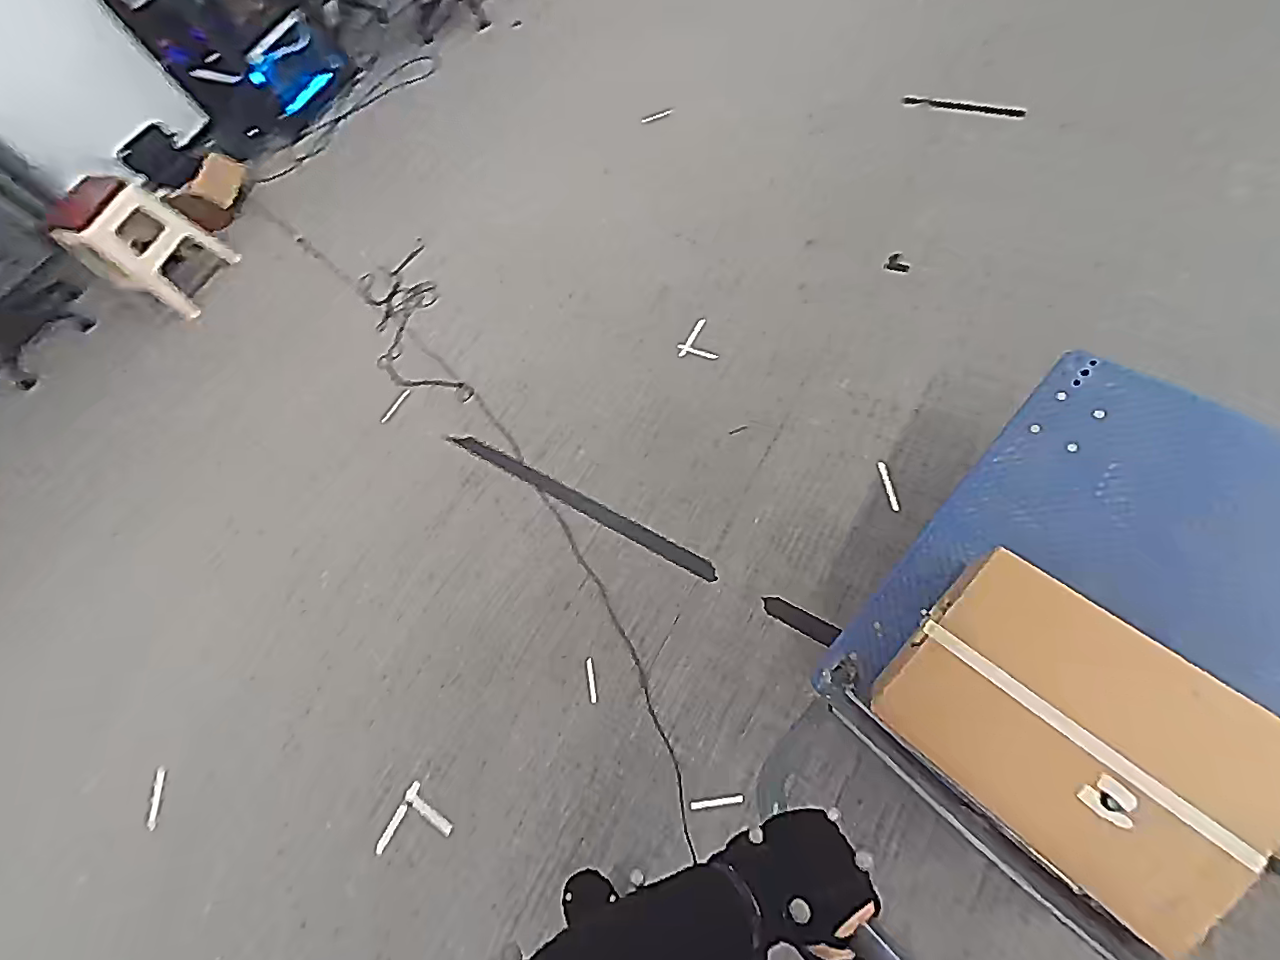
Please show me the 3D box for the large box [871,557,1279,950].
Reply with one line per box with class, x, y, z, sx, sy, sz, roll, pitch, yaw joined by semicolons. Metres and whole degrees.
large box;0.633;0.372;0.861;0.408;0.320;0.320;38;95;26
